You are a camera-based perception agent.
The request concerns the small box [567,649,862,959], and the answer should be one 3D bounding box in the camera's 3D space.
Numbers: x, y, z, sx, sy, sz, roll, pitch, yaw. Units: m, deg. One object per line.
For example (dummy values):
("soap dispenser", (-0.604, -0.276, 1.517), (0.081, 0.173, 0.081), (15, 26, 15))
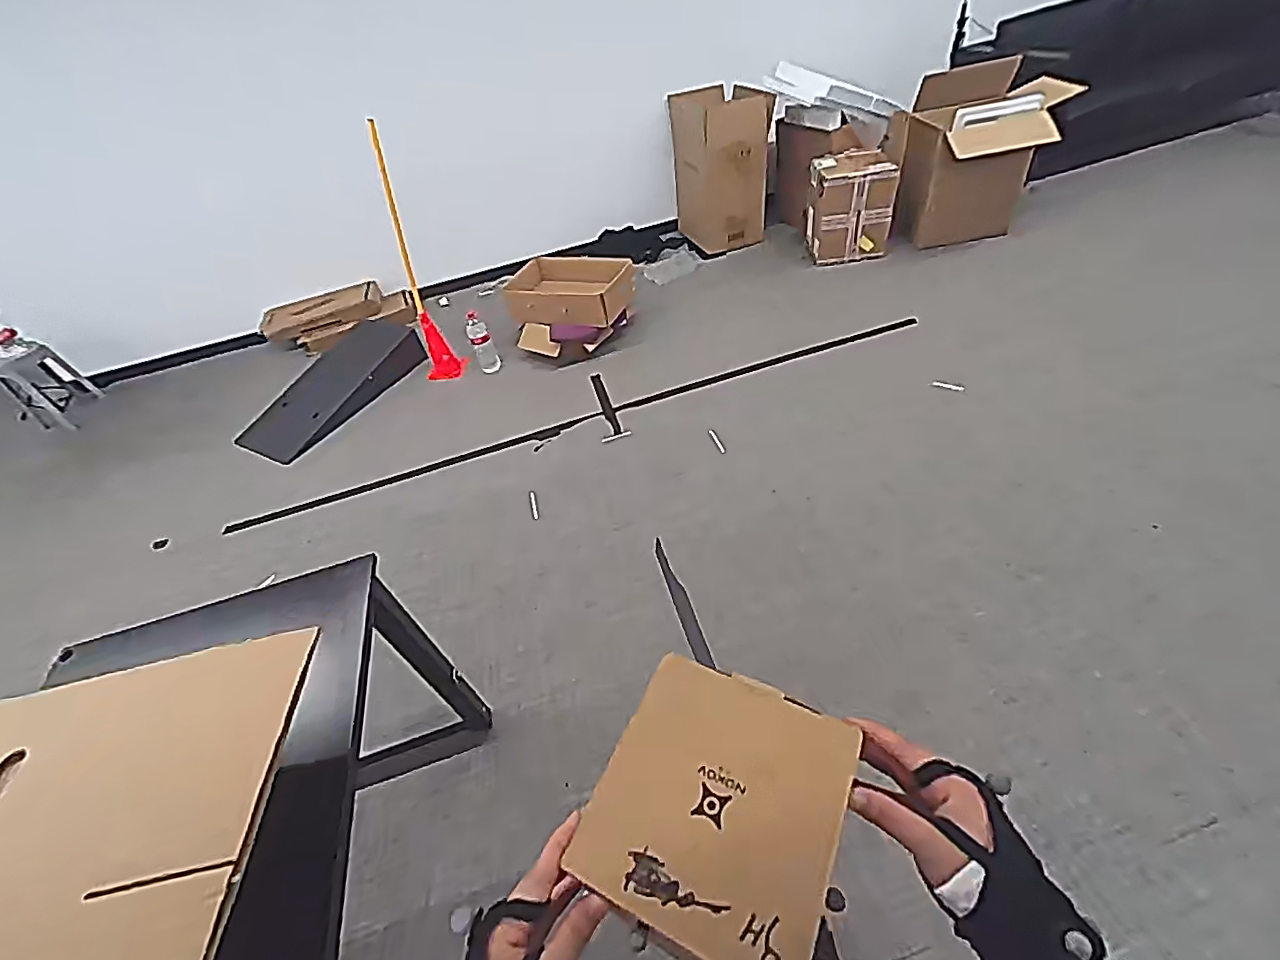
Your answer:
("small box", (0.069, 0.279, 0.442), (0.168, 0.176, 0.179), (13, 47, 27))
